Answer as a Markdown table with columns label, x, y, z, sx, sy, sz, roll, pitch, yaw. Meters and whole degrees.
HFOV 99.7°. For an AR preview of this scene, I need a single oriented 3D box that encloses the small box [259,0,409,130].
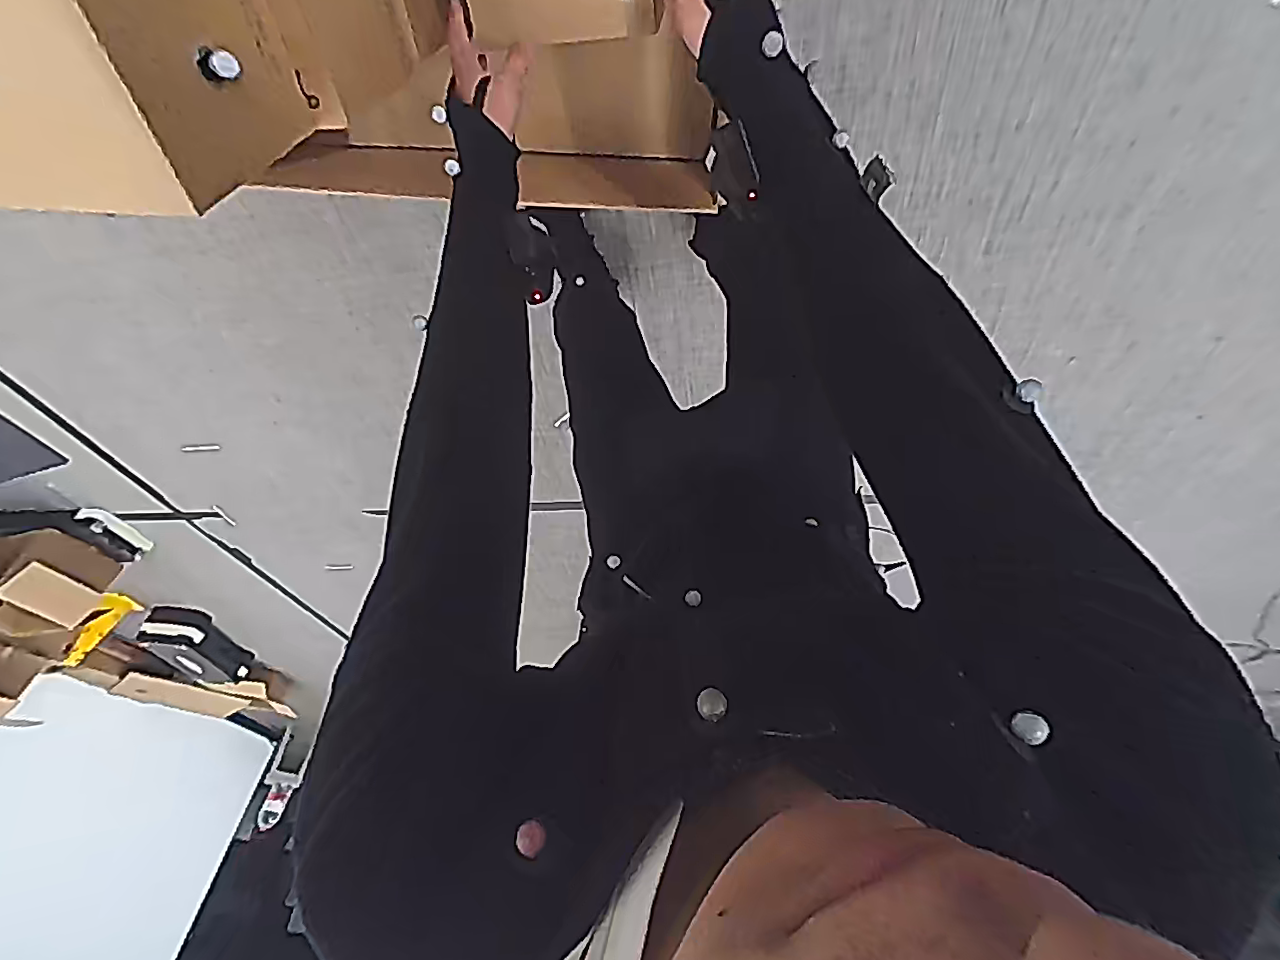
| label | x | y | z | sx | sy | sz | roll | pitch | yaw |
| --- | --- | --- | --- | --- | --- | --- | --- | --- | --- |
| small box | -0.310 | -0.397 | 0.423 | 0.168 | 0.176 | 0.179 | 1 | 138 | 3 |

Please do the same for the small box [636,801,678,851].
| label | x | y | z | sx | sy | sz | roll | pitch | yaw |
| --- | --- | --- | --- | --- | --- | --- | --- | --- | --- |
| small box | 0.082 | 1.564 | 2.445 | 0.179 | 0.176 | 0.168 | -2 | 138 | 8 |

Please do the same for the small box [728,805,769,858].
| label | x | y | z | sx | sy | sz | roll | pitch | yaw |
| --- | --- | --- | --- | --- | --- | --- | --- | --- | --- |
| small box | 0.481 | 1.559 | 2.397 | 0.168 | 0.176 | 0.179 | -4 | 138 | 10 |

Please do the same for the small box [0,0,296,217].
| label | x | y | z | sx | sy | sz | roll | pitch | yaw |
| --- | --- | --- | --- | --- | --- | --- | --- | --- | --- |
| small box | -0.342 | -0.275 | 0.316 | 0.179 | 0.176 | 0.168 | 3 | 139 | 1 |
